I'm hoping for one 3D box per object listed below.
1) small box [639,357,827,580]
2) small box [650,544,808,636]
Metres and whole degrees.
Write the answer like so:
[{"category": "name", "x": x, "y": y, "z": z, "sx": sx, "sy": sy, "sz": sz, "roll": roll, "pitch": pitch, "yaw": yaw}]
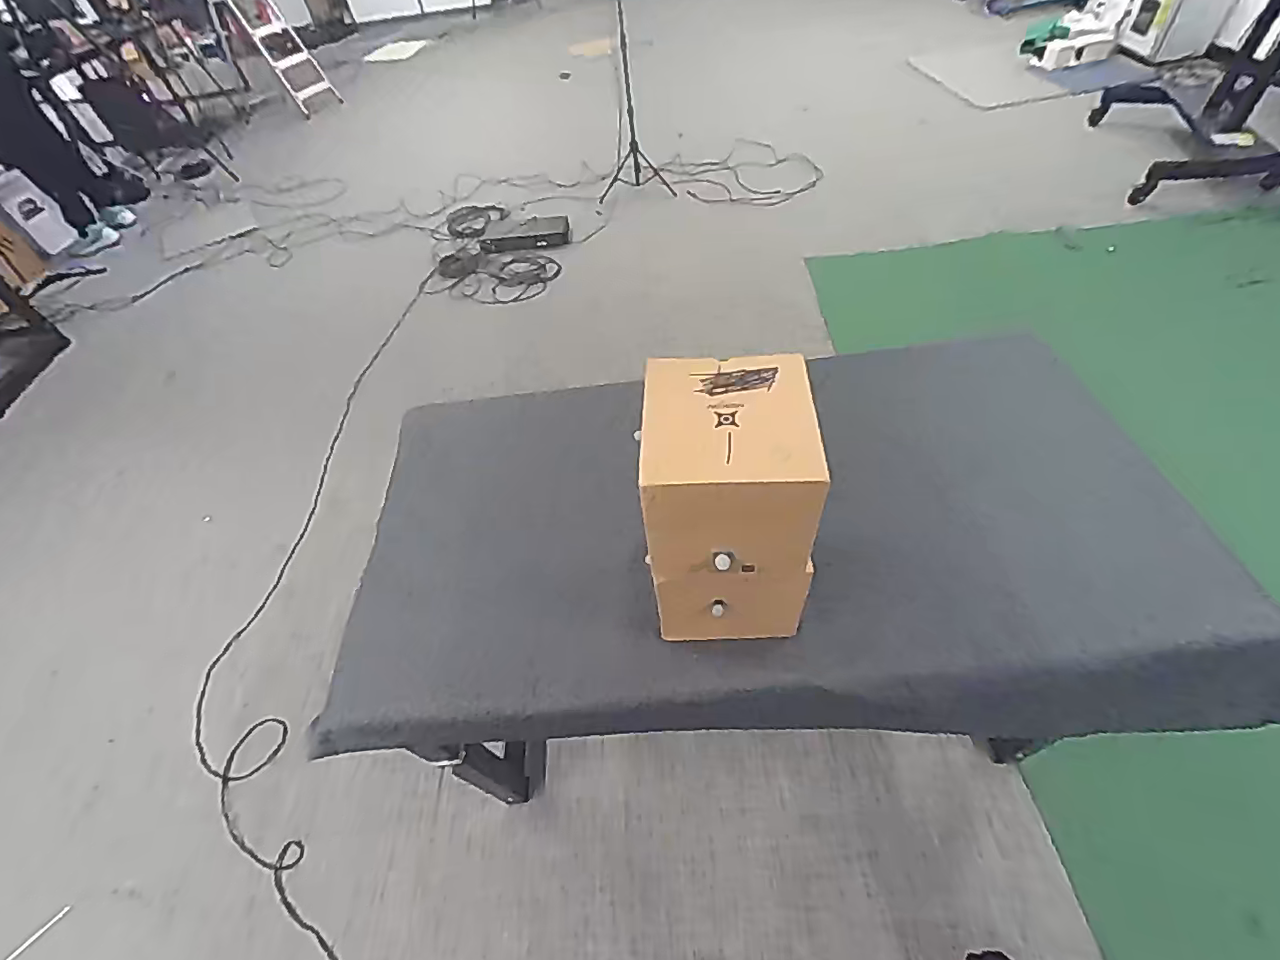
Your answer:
[{"category": "small box", "x": 0.093, "y": -0.012, "z": 0.582, "sx": 0.168, "sy": 0.176, "sz": 0.179, "roll": 0, "pitch": 51, "yaw": 7}, {"category": "small box", "x": 0.109, "y": 0.095, "z": 0.707, "sx": 0.179, "sy": 0.176, "sz": 0.168, "roll": -3, "pitch": 50, "yaw": 5}]
